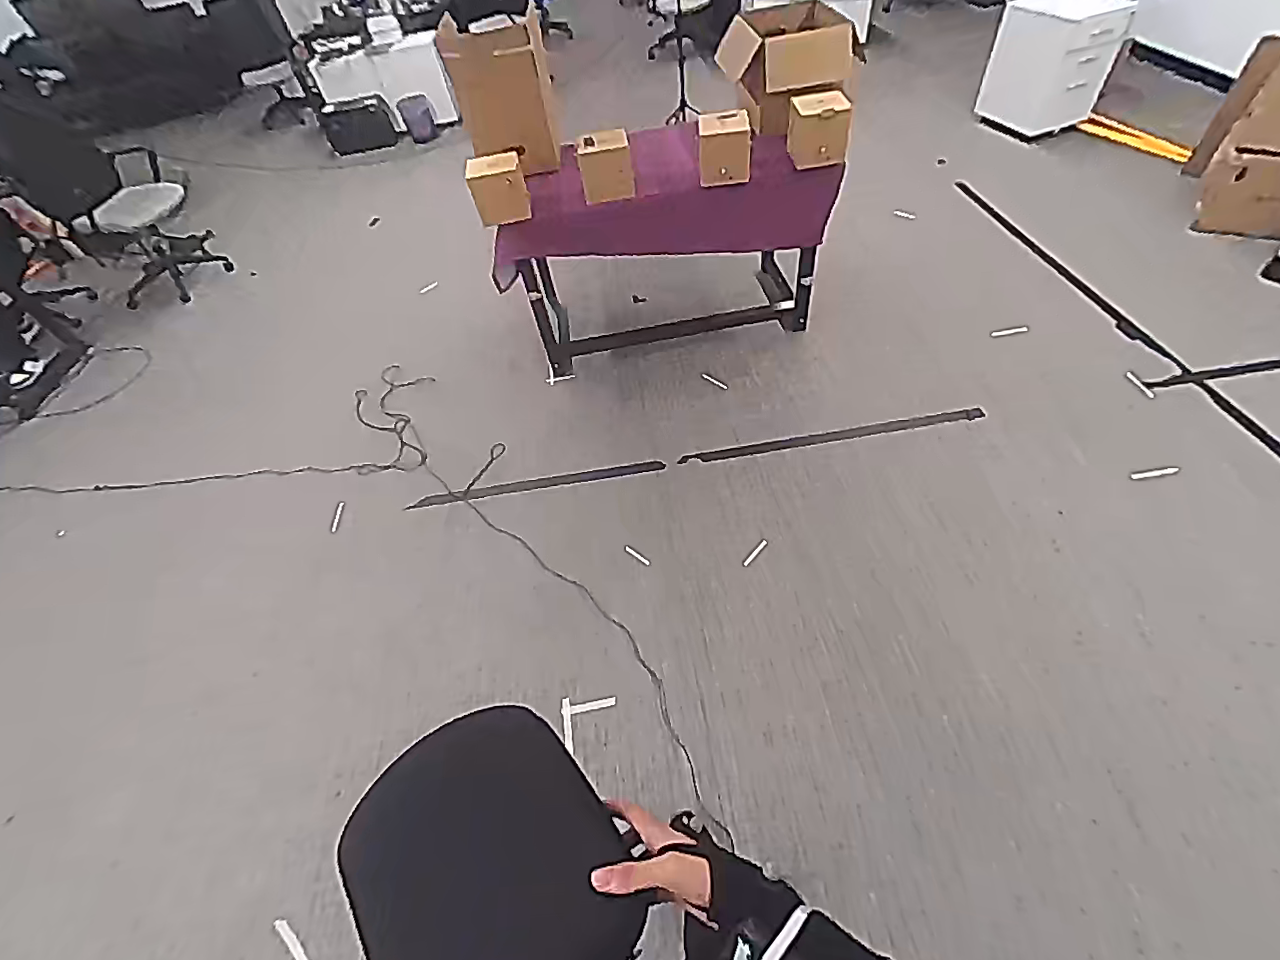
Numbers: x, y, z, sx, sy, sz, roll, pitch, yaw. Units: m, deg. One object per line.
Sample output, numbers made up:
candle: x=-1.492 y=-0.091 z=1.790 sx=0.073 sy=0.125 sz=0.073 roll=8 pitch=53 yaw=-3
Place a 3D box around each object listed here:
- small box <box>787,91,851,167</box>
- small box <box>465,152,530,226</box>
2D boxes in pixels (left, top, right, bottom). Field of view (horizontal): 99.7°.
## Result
small box: x=0.609 y=-1.206 z=1.861 sx=0.168 sy=0.176 sz=0.179 roll=-6 pitch=51 yaw=6
small box: x=-0.493 y=-1.012 z=1.889 sx=0.179 sy=0.176 sz=0.168 roll=-11 pitch=51 yaw=-1
